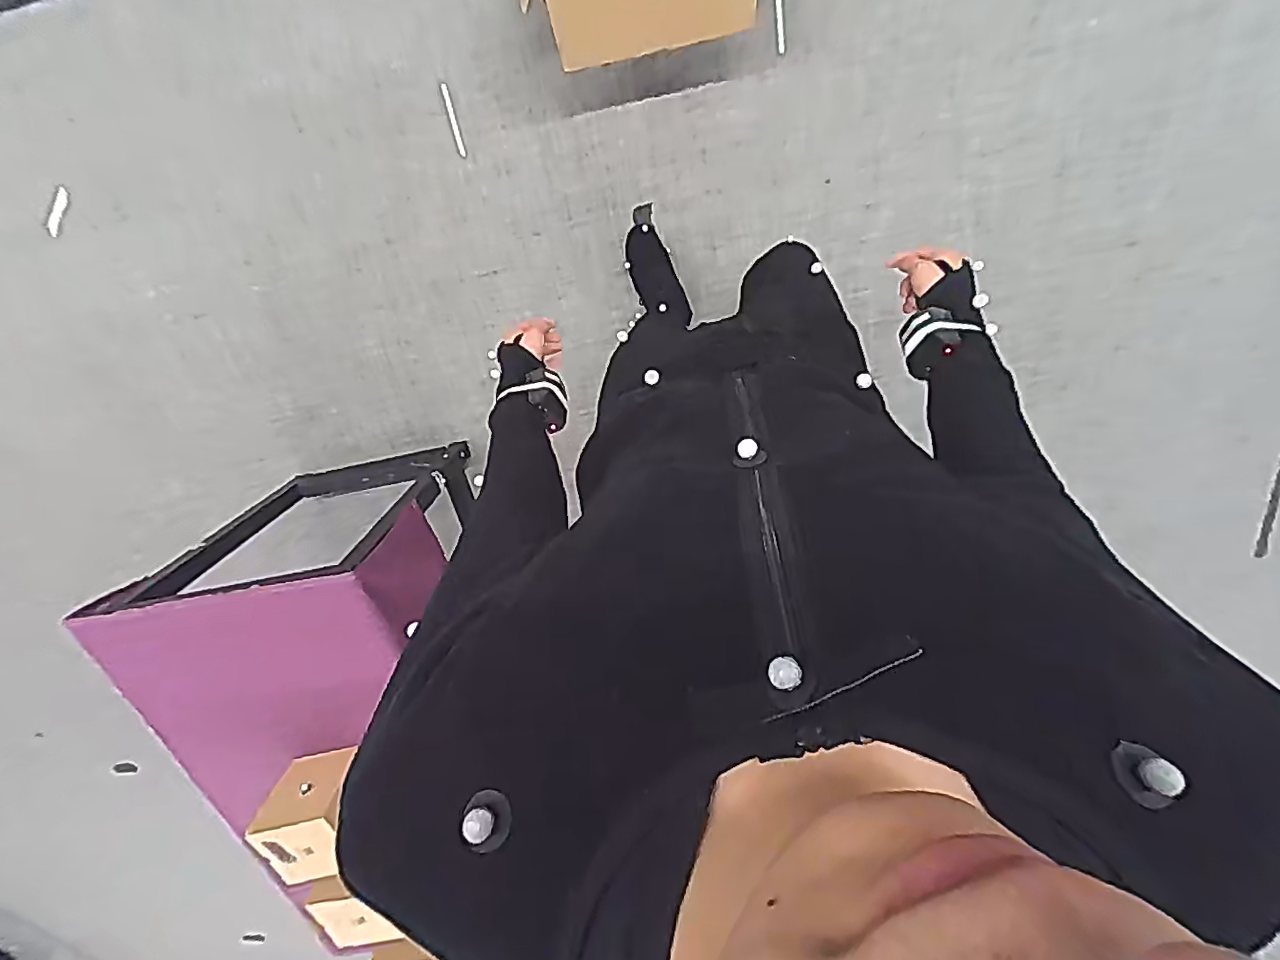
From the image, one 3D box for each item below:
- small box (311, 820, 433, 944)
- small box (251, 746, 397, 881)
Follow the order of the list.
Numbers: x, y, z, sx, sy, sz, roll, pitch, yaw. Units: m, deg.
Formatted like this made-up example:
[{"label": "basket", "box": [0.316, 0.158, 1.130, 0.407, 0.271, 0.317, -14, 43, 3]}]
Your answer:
[{"label": "small box", "box": [-0.601, 0.918, 1.247, 0.179, 0.176, 0.168, -12, 113, 6]}, {"label": "small box", "box": [-0.658, 0.703, 1.151, 0.179, 0.176, 0.168, -16, 113, 6]}]
